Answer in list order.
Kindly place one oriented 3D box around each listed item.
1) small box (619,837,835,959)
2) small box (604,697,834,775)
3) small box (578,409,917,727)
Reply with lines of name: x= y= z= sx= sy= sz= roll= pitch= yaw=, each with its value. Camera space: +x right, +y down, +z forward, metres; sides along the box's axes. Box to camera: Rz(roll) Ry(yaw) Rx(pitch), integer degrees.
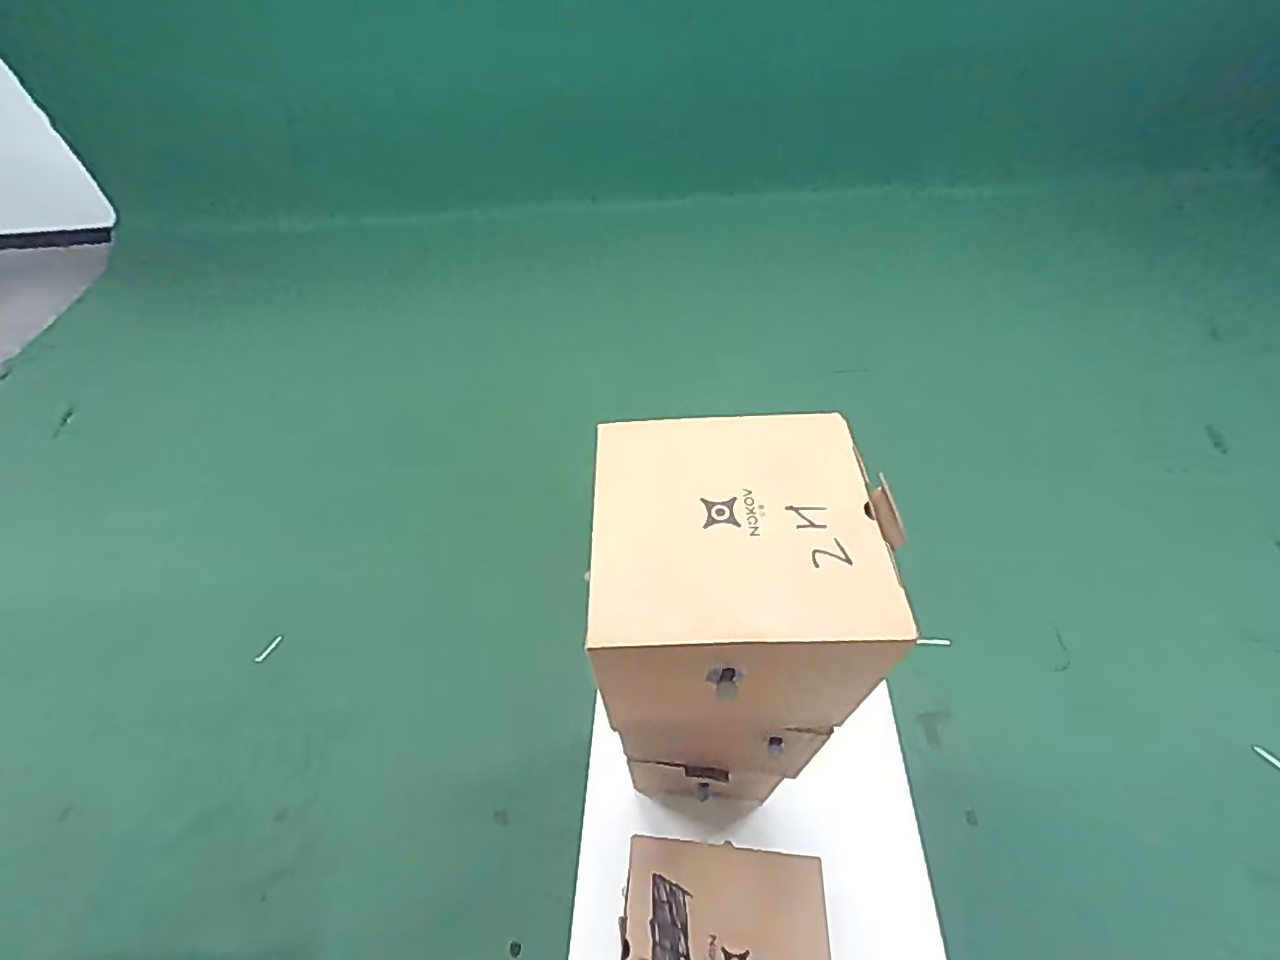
small box: x=0.072 y=0.447 z=0.490 sx=0.179 sy=0.176 sz=0.168 roll=4 pitch=47 yaw=6
small box: x=0.071 y=0.167 z=0.516 sx=0.179 sy=0.176 sz=0.168 roll=4 pitch=51 yaw=6
small box: x=0.058 y=0.069 z=0.385 sx=0.179 sy=0.176 sz=0.168 roll=-2 pitch=52 yaw=1
